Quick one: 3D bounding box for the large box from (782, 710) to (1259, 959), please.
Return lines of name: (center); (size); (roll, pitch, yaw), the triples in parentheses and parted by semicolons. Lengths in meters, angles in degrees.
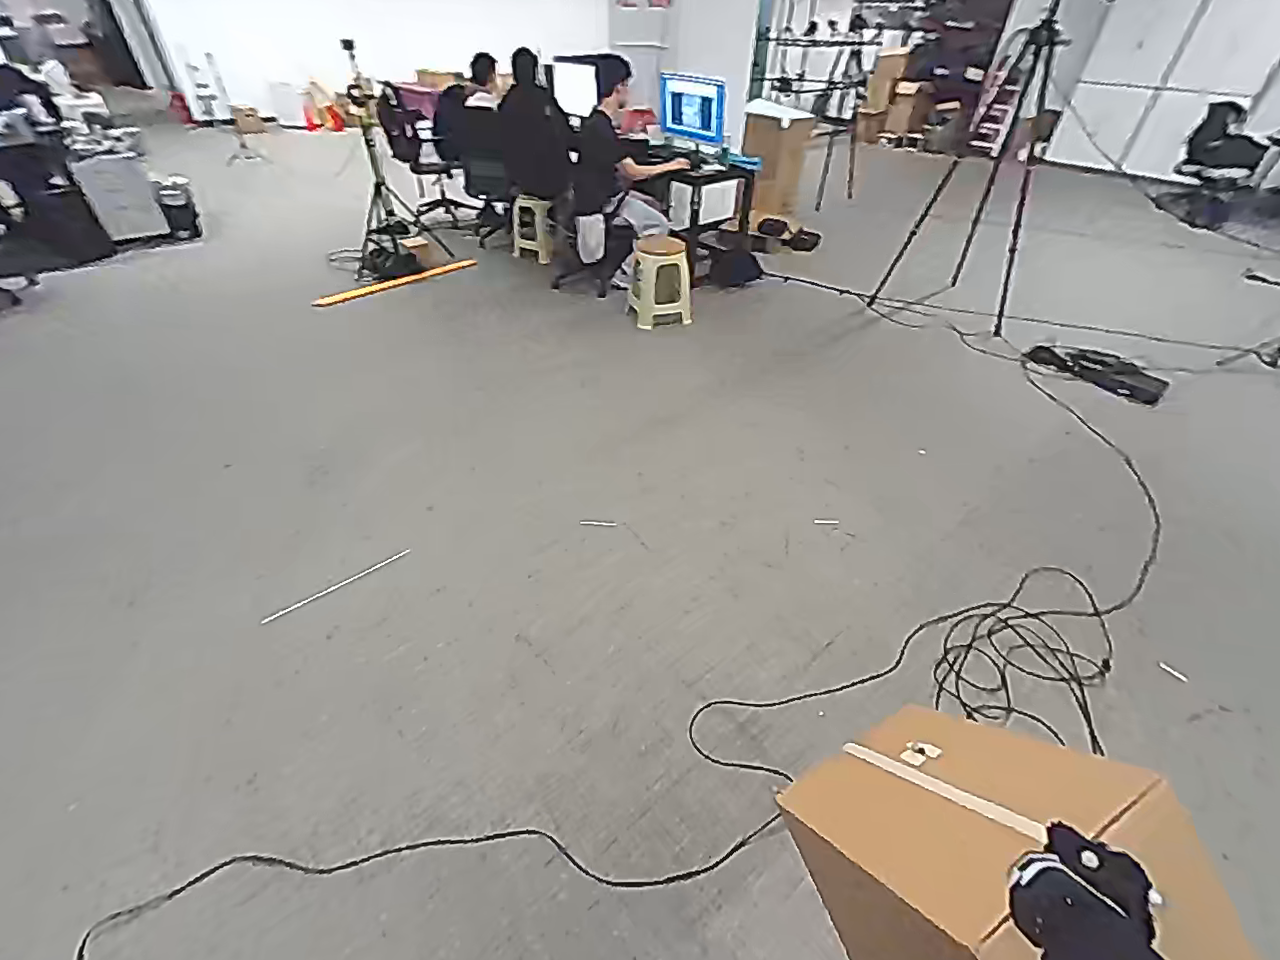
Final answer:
large box: (0.476, 0.568, 0.737); (0.320, 0.408, 0.320); (-23, 84, -17)
